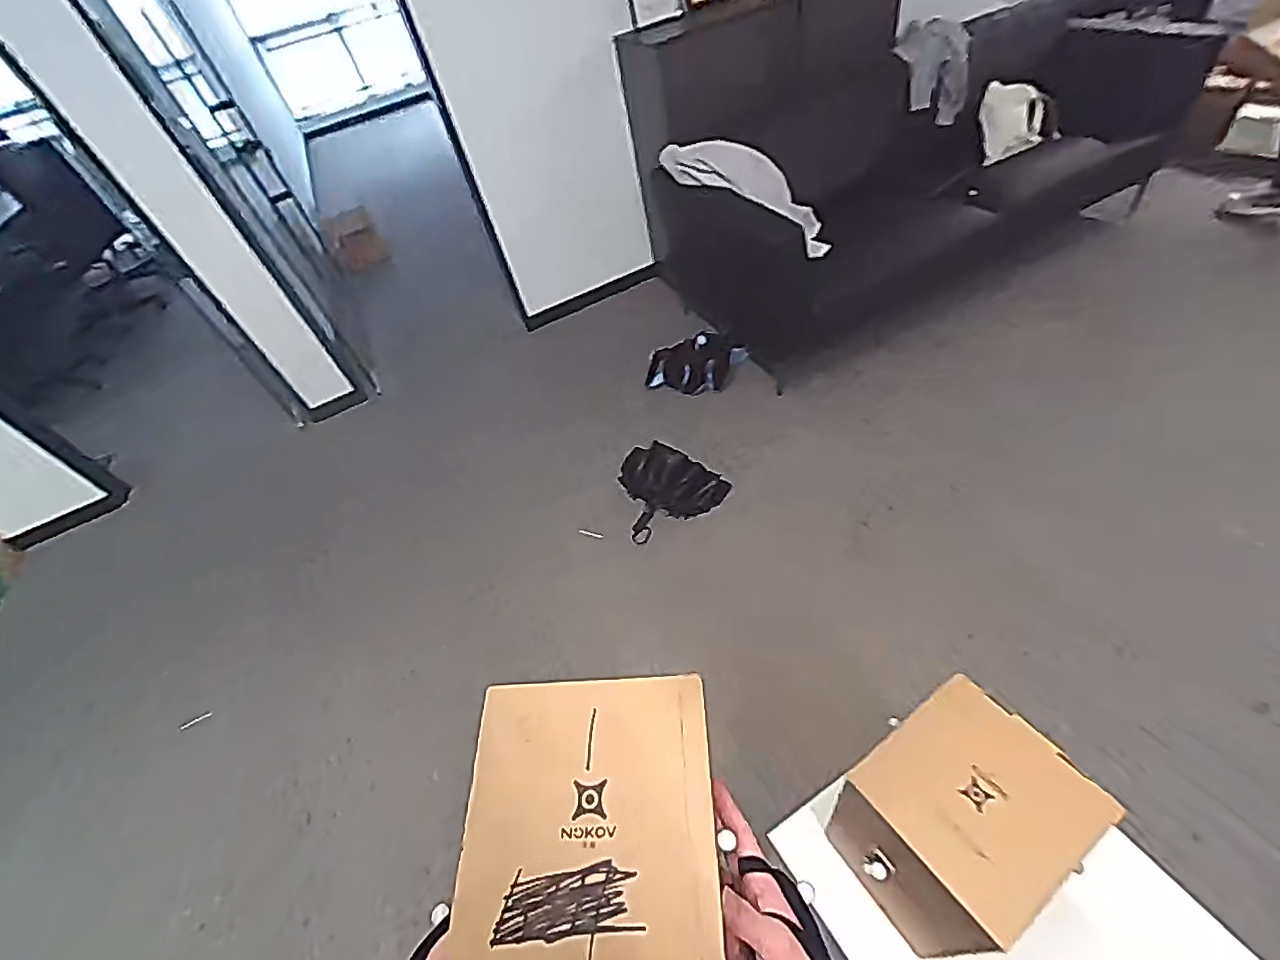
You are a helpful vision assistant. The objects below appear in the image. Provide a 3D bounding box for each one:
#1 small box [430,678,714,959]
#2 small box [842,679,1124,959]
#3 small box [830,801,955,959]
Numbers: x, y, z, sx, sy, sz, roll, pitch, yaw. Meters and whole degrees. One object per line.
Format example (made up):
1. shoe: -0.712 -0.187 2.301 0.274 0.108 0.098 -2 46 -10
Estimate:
1. small box: -0.033 0.270 0.416 0.168 0.176 0.179 -5 50 5
2. small box: 0.332 0.352 0.565 0.179 0.176 0.168 -33 48 -15
3. small box: 0.363 0.459 0.684 0.179 0.176 0.168 -30 49 -14
